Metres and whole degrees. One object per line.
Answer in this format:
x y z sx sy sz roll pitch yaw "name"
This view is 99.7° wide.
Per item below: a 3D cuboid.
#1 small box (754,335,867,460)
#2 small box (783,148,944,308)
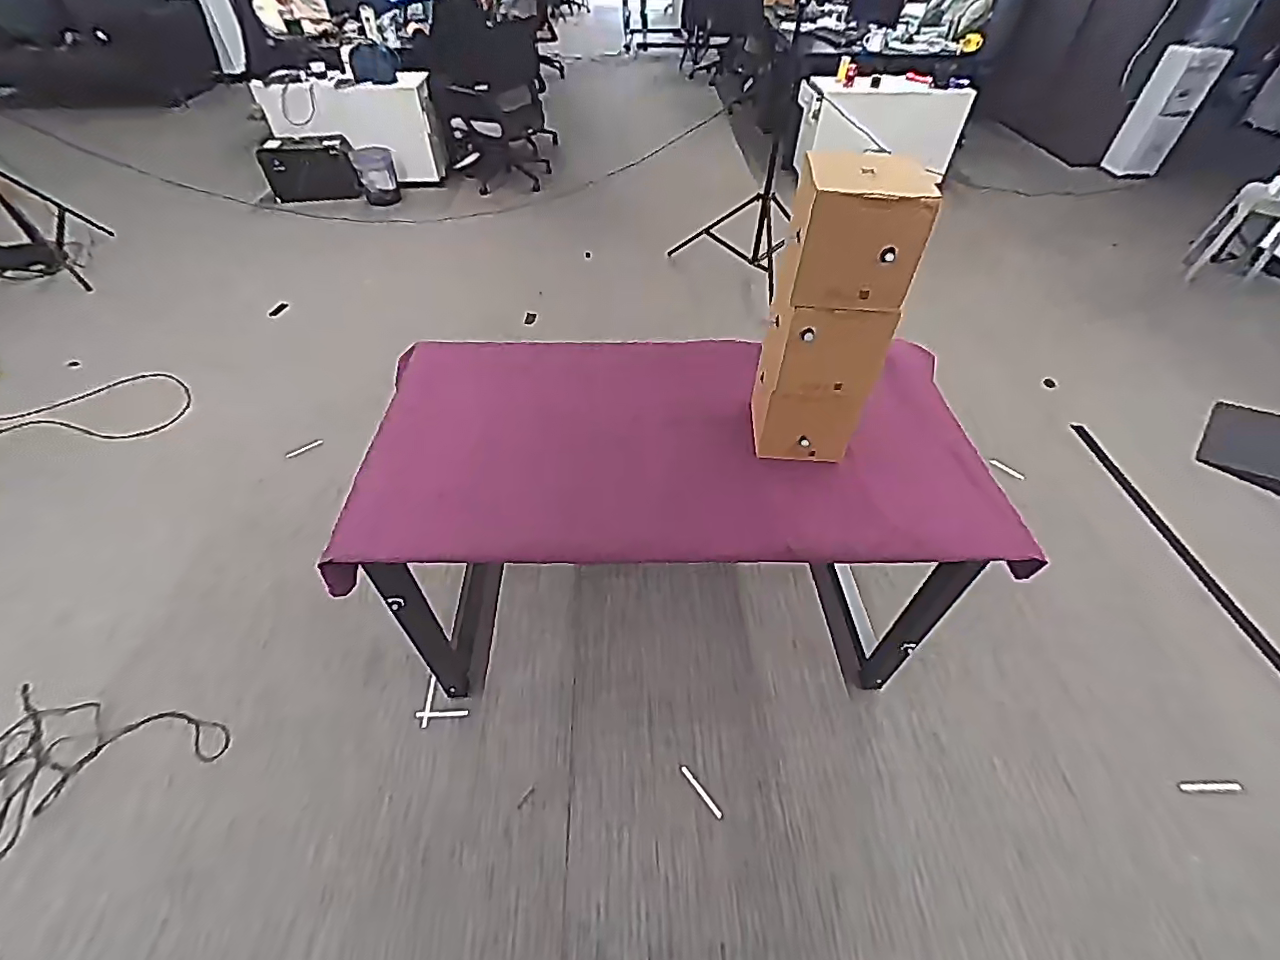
0.321 -0.162 1.059 0.168 0.176 0.179 3 48 3 "small box"
0.319 -0.377 0.812 0.168 0.176 0.179 5 47 3 "small box"
